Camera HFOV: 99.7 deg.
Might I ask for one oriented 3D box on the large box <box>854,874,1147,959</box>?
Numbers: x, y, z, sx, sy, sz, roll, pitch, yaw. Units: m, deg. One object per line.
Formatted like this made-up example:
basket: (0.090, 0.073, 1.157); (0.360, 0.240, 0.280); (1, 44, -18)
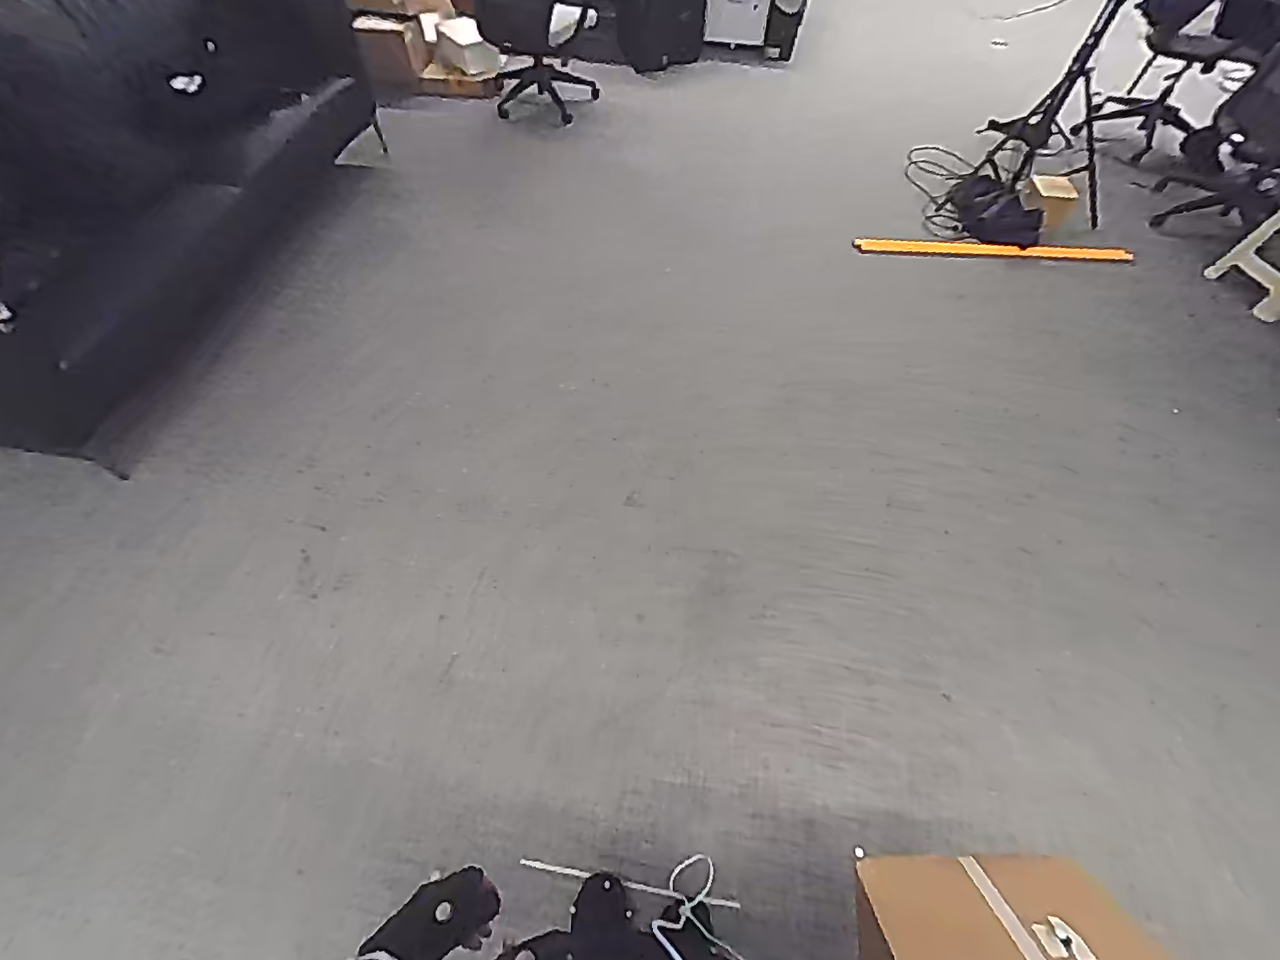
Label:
large box: (0.466, 0.740, 0.595); (0.320, 0.408, 0.320); (-3, 94, 4)
